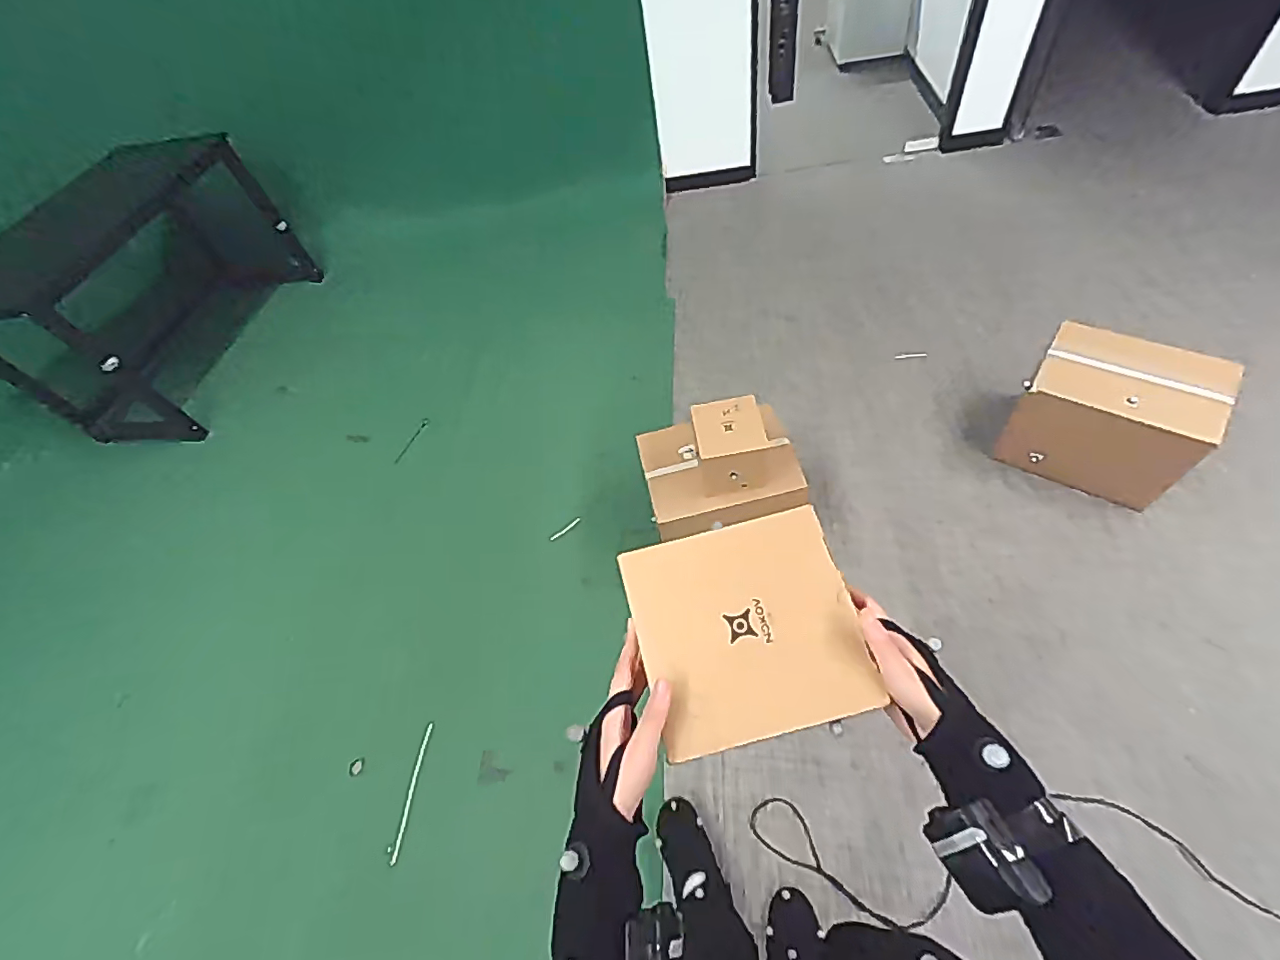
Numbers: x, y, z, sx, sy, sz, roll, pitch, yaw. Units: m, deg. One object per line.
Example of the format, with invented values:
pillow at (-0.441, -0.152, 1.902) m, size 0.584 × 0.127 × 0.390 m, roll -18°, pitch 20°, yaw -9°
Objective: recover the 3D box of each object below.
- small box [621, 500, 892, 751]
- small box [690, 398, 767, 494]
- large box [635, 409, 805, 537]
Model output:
small box at (0.090, 0.141, 0.500) m, size 0.179 × 0.176 × 0.168 m, roll -14°, pitch 66°, yaw -3°
small box at (0.224, -0.079, 1.378) m, size 0.168 × 0.176 × 0.179 m, roll -9°, pitch 54°, yaw 3°
large box at (0.231, 0.046, 1.595) m, size 0.408 × 0.320 × 0.320 m, roll -15°, pitch 52°, yaw 2°
